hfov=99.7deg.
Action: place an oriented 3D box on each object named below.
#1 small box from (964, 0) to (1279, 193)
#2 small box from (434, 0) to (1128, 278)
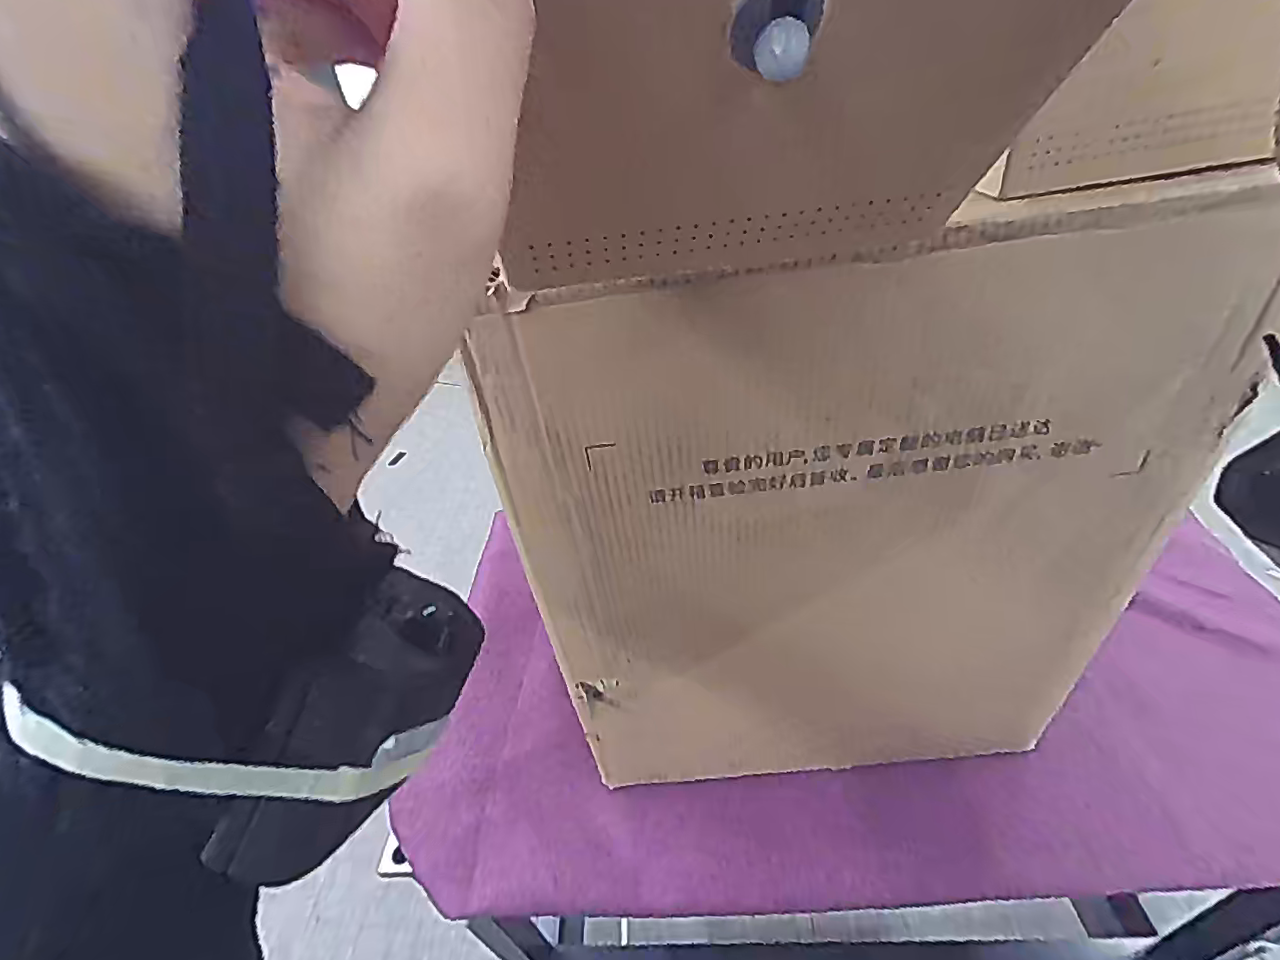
[{"bbox_3d":[0.273,-0.274,0.303,0.179,0.176,0.168,-6,38,5],"label":"small box"},{"bbox_3d":[0.030,-0.183,0.152,0.179,0.176,0.168,-9,76,-3],"label":"small box"}]
